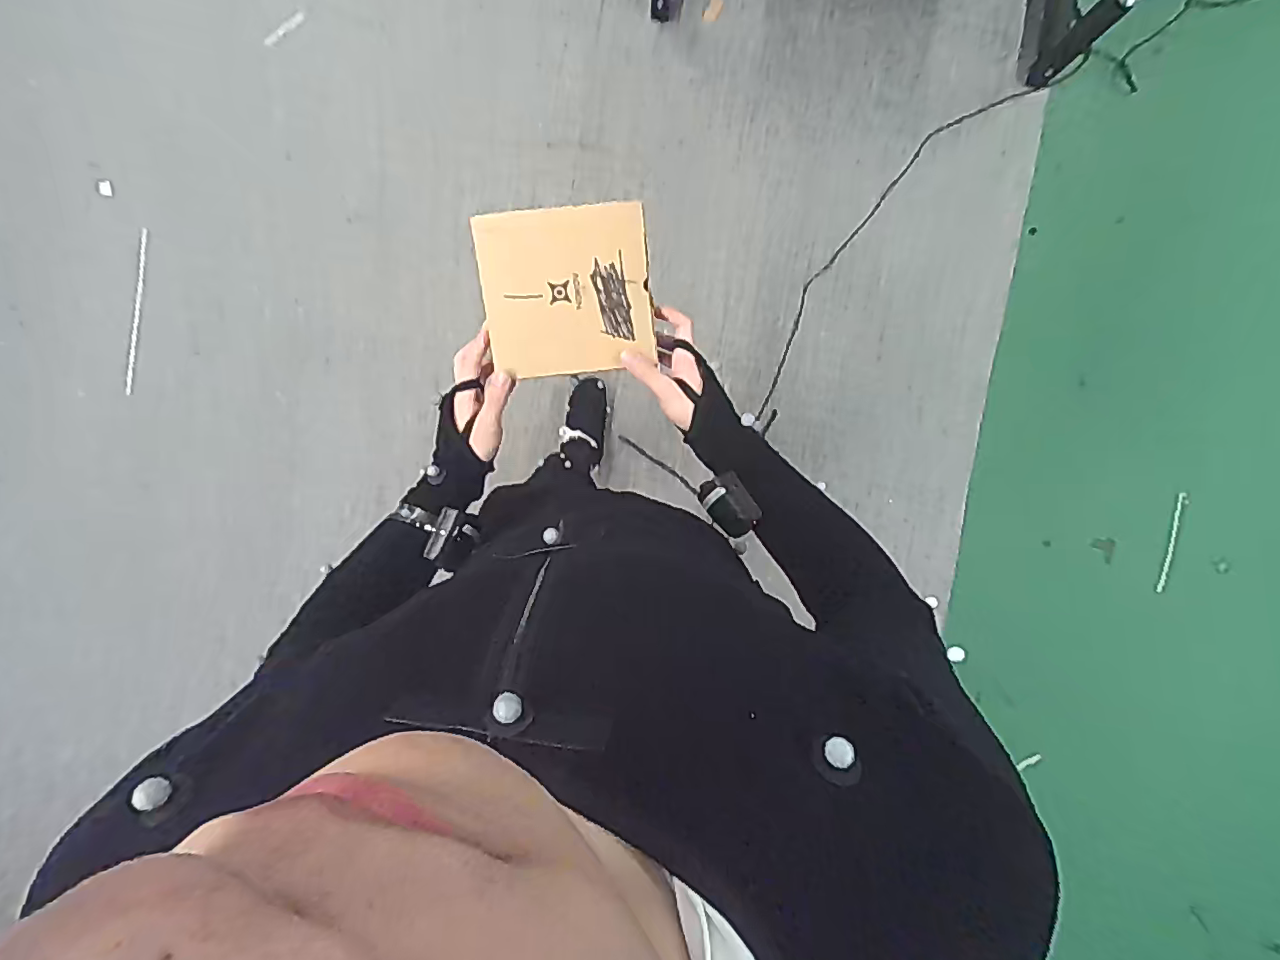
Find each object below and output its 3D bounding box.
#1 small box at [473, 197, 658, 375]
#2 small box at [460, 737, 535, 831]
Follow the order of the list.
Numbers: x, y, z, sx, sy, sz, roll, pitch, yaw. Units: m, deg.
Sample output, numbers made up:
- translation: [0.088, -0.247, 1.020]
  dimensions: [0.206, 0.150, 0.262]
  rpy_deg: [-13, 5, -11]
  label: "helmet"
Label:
- translation: [-0.079, -0.216, 0.633]
  dimensions: [0.179, 0.176, 0.168]
  rpy_deg: [-6, 103, -2]
  label: "small box"
- translation: [-0.406, 0.877, 1.568]
  dimensions: [0.168, 0.176, 0.179]
  rpy_deg: [9, 93, -2]
  label: "small box"
